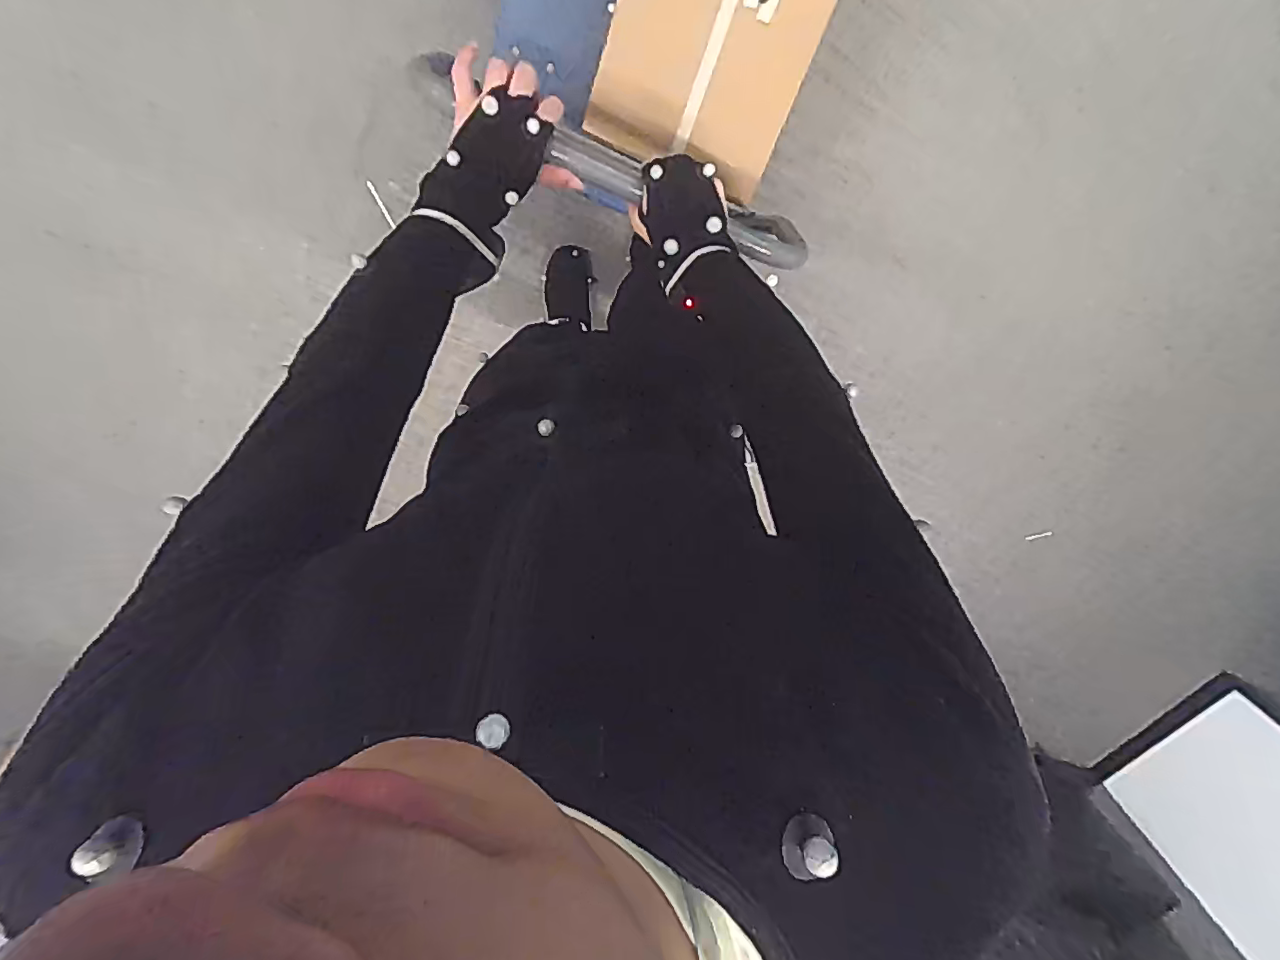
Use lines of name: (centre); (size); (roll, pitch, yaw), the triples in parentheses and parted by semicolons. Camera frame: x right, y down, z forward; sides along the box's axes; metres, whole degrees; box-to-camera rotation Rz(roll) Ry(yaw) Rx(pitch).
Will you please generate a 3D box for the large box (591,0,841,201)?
large box: (0.118, -0.765, 0.959); (0.320, 0.320, 0.408); (17, 117, -15)
